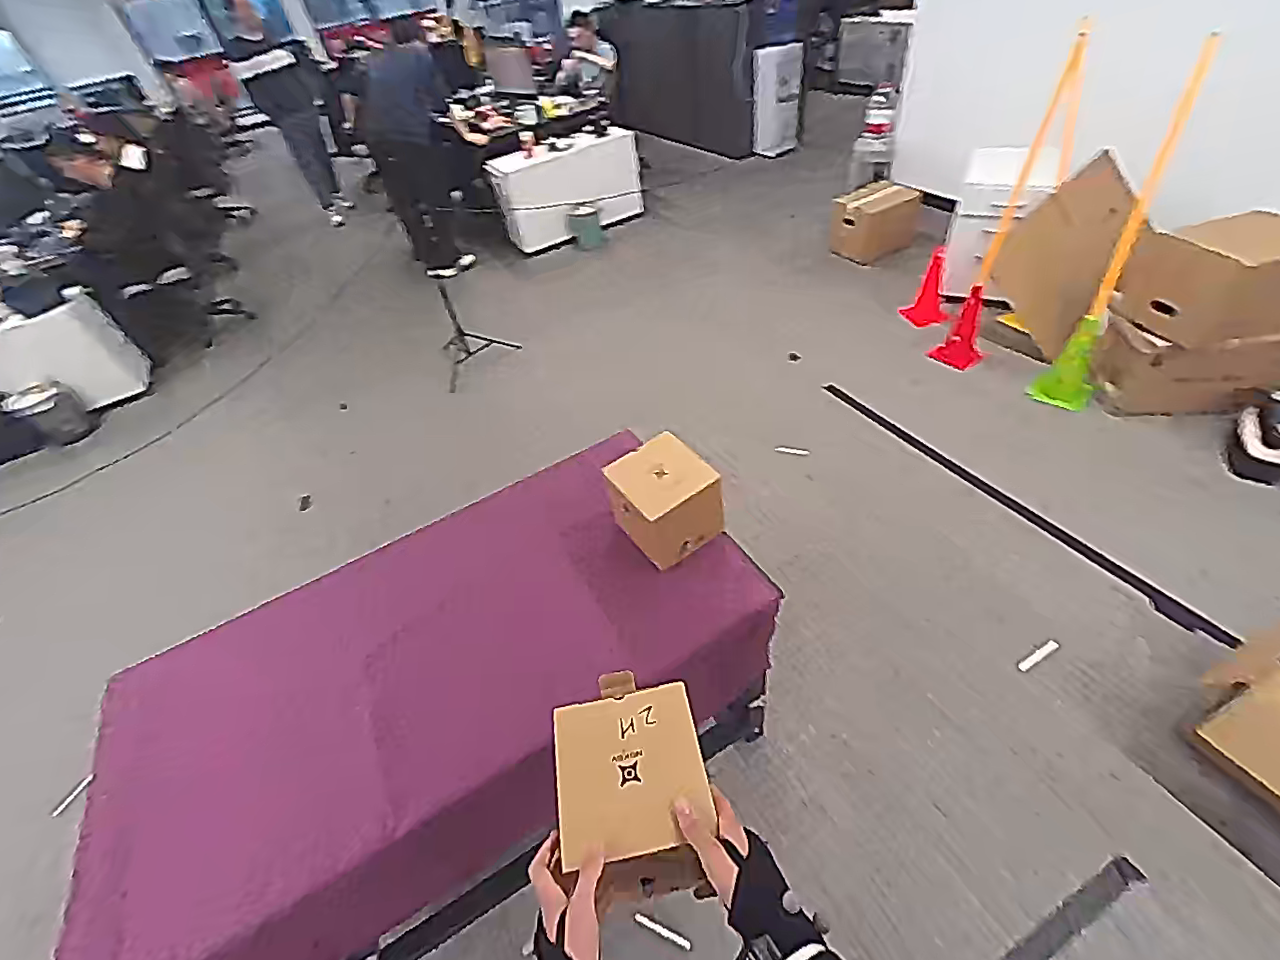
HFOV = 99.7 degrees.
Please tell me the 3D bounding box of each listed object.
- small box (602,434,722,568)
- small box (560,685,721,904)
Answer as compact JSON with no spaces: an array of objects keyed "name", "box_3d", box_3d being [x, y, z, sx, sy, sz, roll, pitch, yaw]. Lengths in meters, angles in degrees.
[{"name":"small box","box_3d":[0.048,0.044,1.092,0.168,0.176,0.179,-31,48,-17]},{"name":"small box","box_3d":[0.001,0.382,0.654,0.168,0.176,0.179,-9,39,-3]}]
